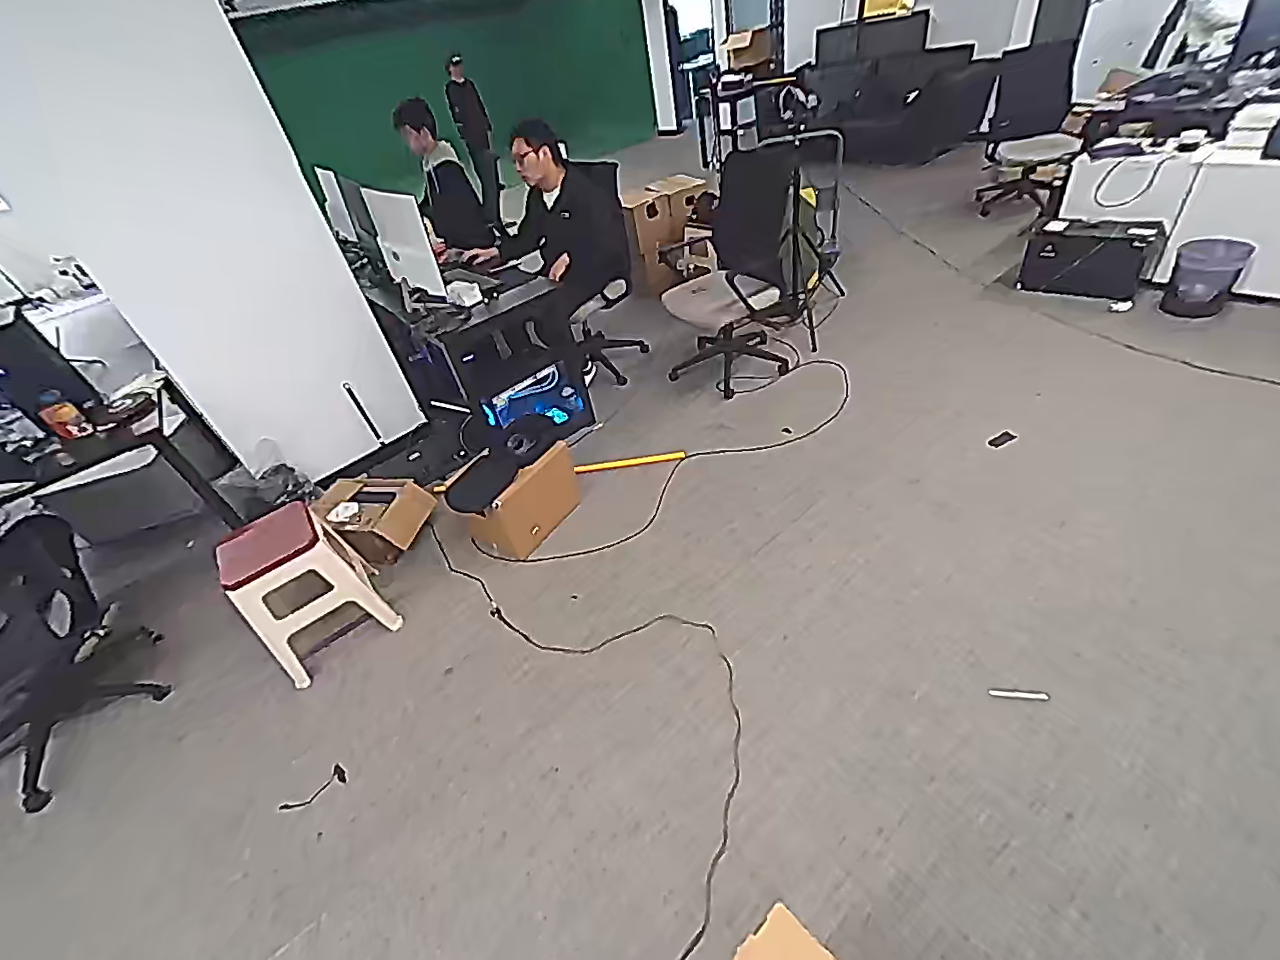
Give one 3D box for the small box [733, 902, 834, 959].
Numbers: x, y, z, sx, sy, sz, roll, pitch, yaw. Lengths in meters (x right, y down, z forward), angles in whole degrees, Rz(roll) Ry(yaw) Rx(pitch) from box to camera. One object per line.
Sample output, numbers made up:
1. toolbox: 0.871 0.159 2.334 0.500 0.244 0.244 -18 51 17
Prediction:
1. small box: 0.221 0.779 0.786 0.168 0.176 0.179 -37 45 -26
